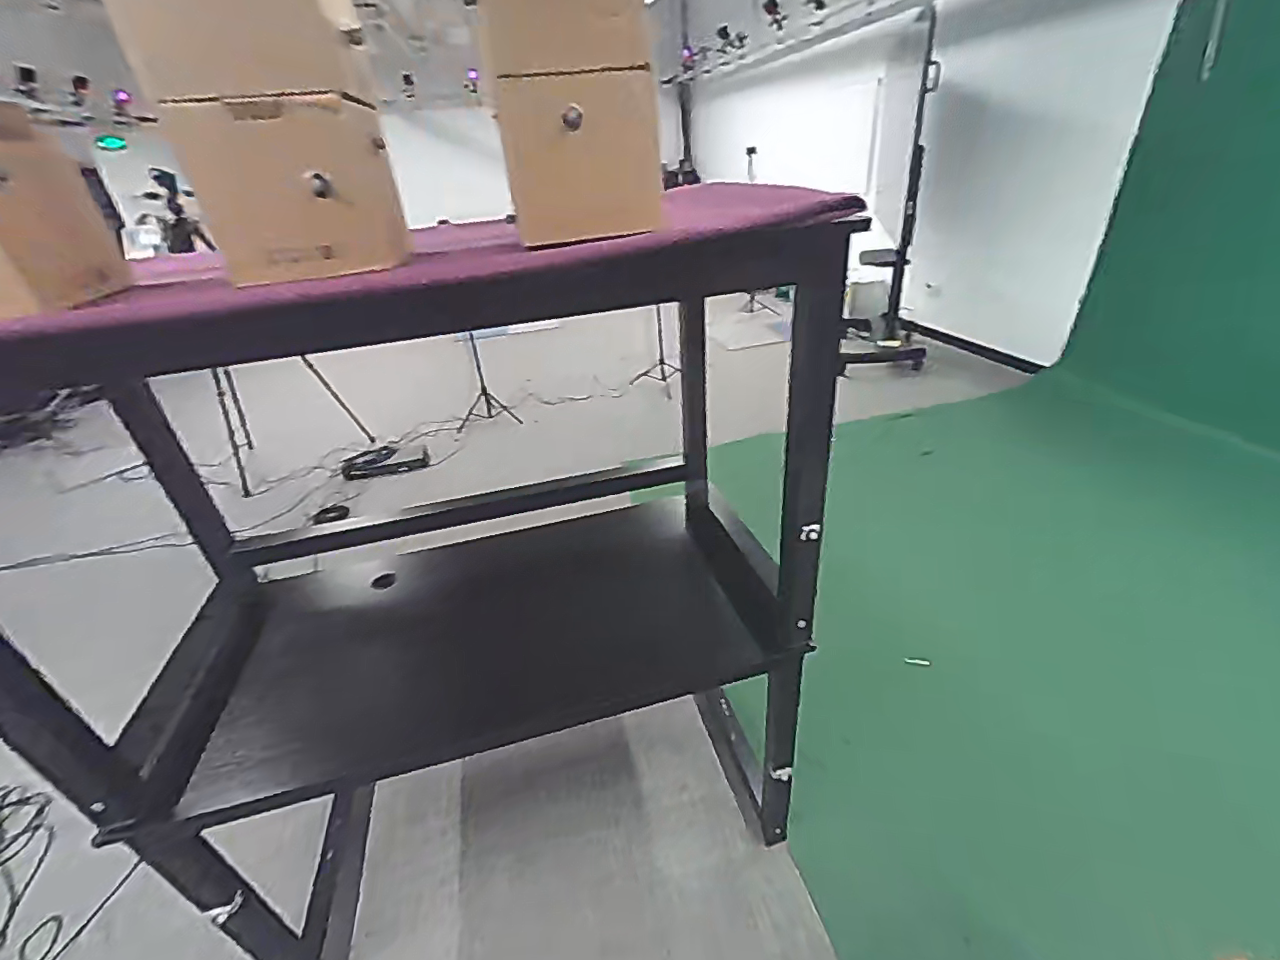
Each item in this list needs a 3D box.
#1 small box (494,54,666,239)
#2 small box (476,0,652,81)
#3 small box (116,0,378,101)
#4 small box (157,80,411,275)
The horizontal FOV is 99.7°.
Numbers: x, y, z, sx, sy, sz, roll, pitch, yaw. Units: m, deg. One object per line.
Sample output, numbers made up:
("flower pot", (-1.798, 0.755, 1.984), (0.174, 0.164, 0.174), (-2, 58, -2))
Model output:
("small box", (-0.076, -0.403, 0.675), (0.179, 0.176, 0.168), (-11, 29, -10))
("small box", (-0.094, -0.547, 0.602), (0.179, 0.176, 0.168), (-11, 29, -10))
("small box", (-0.388, -0.477, 0.533), (0.179, 0.176, 0.168), (-9, 32, -8))
("small box", (-0.376, -0.335, 0.616), (0.168, 0.176, 0.179), (-9, 30, -9))
